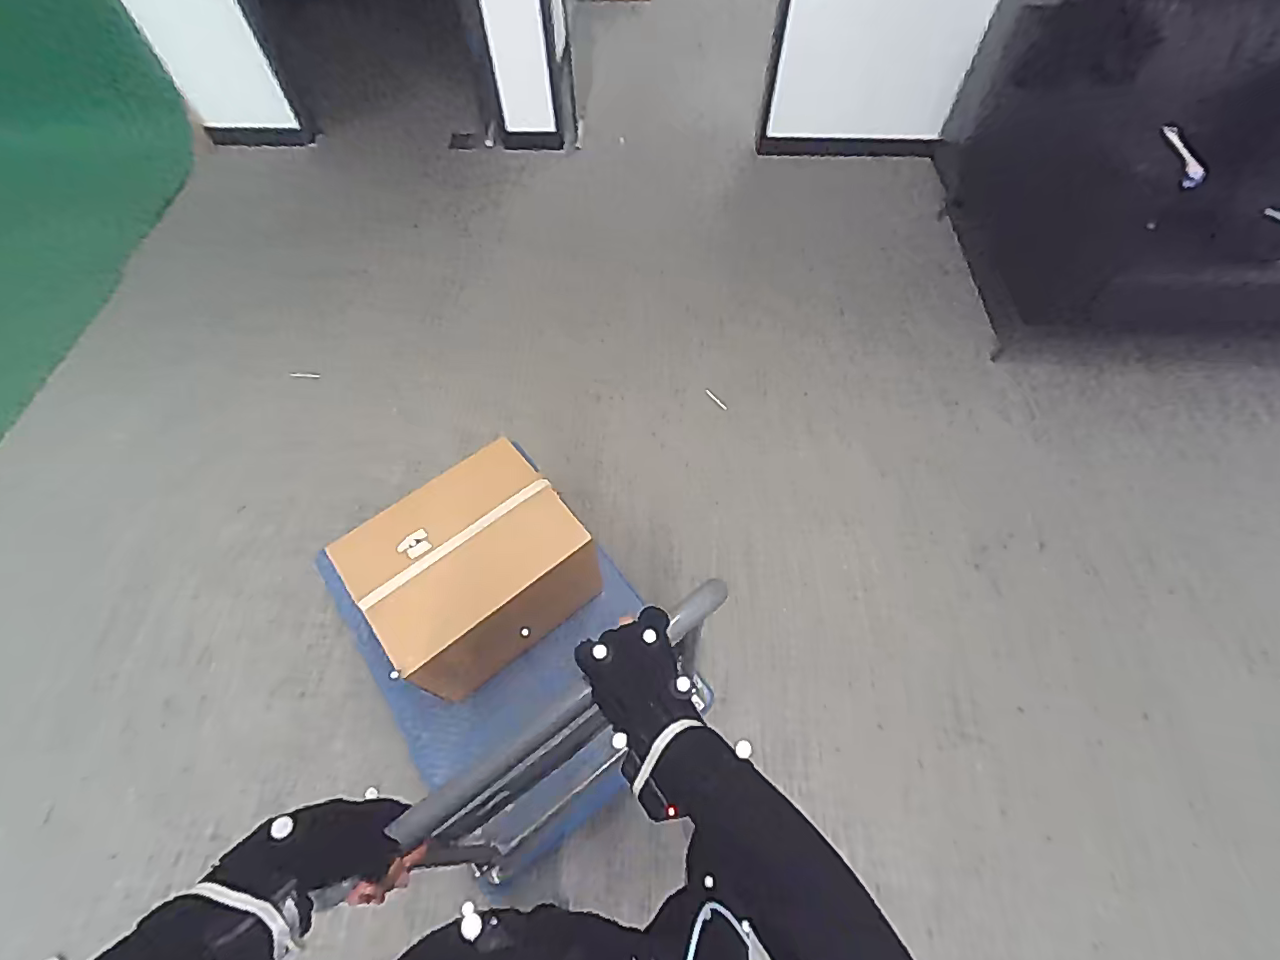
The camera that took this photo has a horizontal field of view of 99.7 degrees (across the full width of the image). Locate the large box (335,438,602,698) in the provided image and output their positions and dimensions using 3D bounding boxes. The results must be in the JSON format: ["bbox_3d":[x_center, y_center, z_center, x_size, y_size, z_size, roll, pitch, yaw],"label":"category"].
[{"bbox_3d":[-0.332,0.193,1.159,0.408,0.320,0.320,-37,66,-19],"label":"large box"}]
